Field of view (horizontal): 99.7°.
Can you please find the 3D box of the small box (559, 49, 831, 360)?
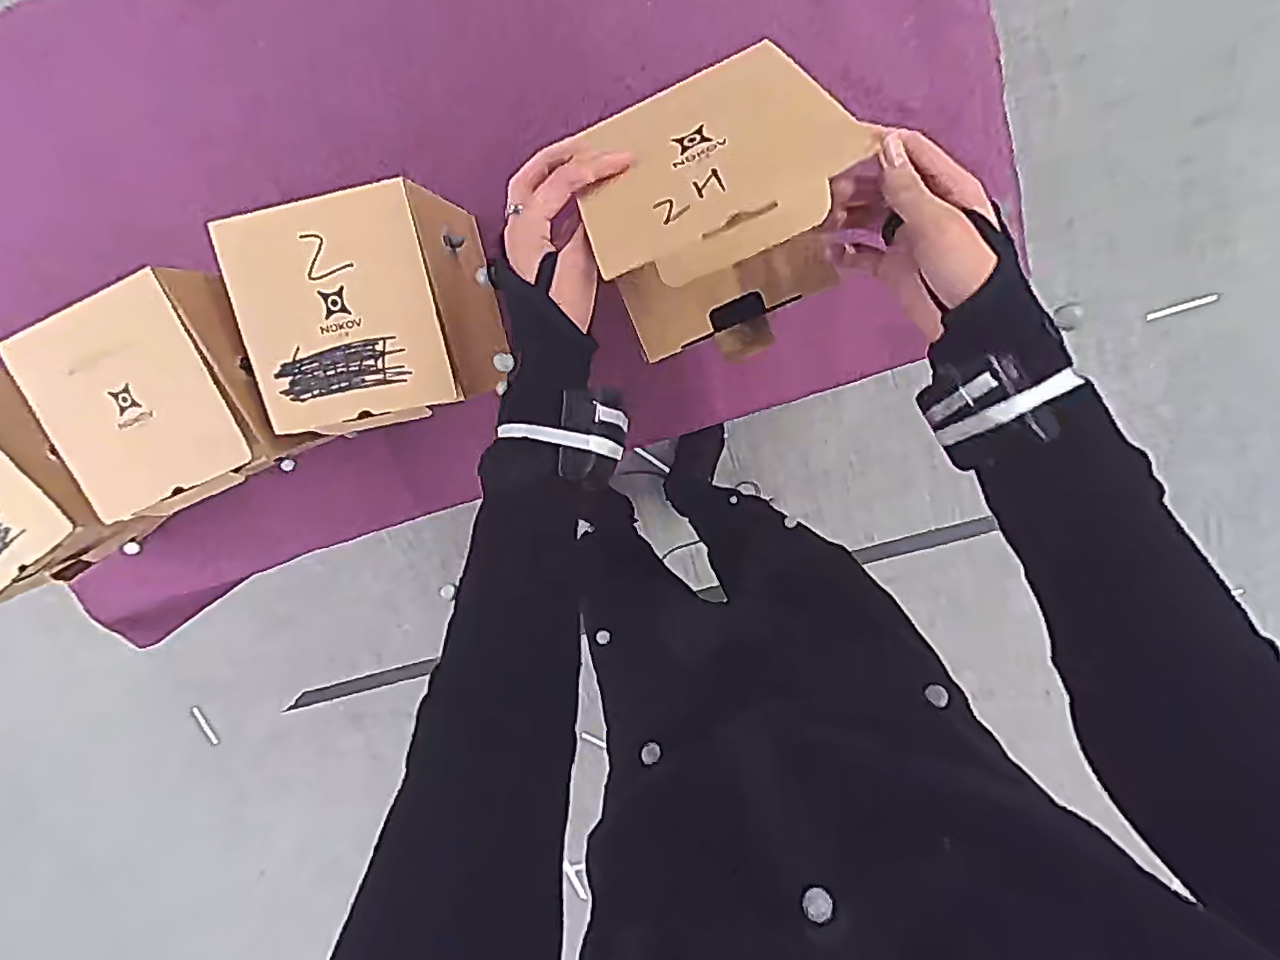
[{"bbox_3d":[0.046,-0.223,0.488,0.168,0.176,0.179,-21,105,8],"label":"small box"}]
